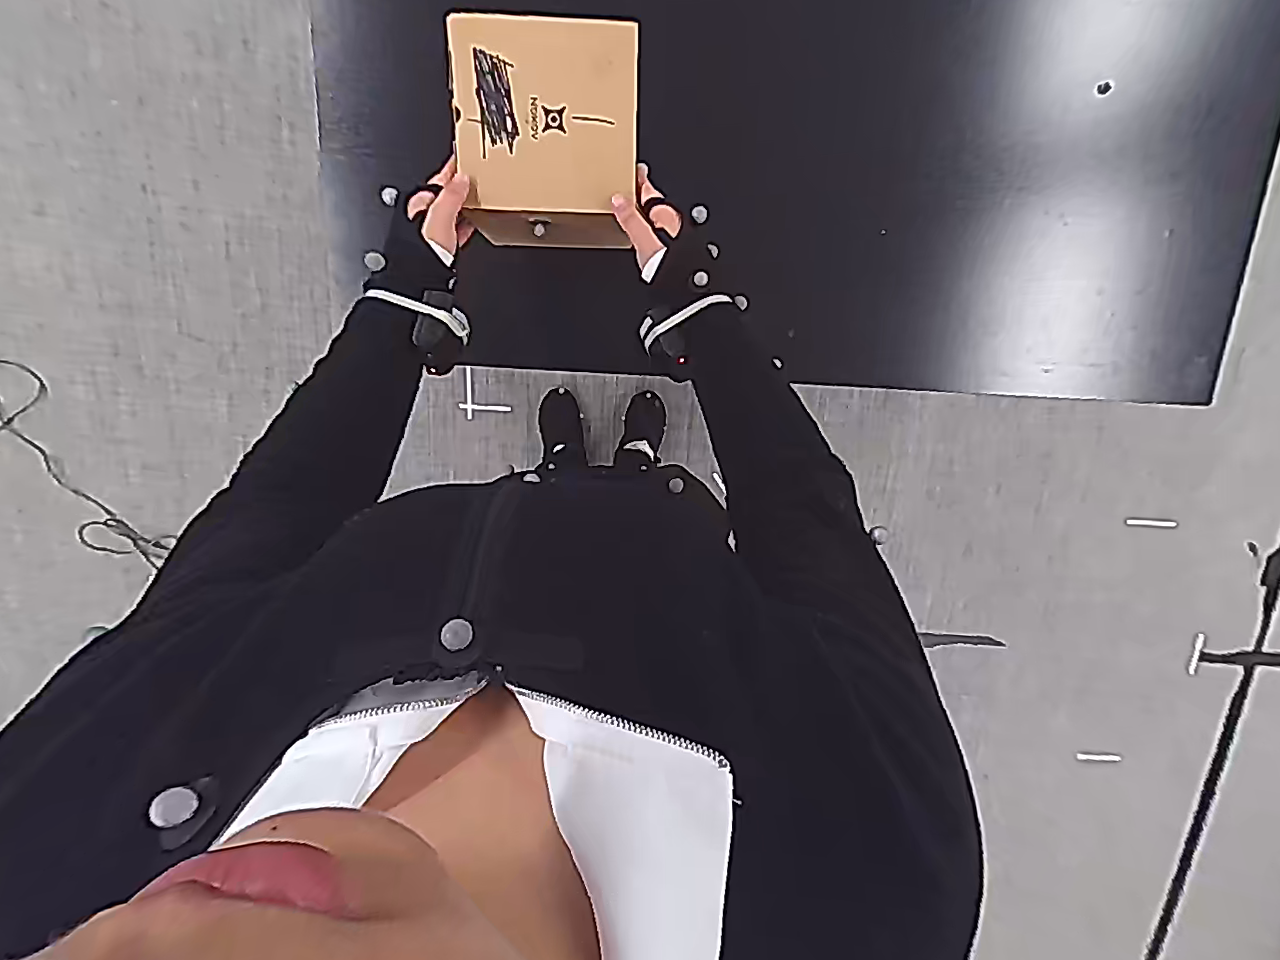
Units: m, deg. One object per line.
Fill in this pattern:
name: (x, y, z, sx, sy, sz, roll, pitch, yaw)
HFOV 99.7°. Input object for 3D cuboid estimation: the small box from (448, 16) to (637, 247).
small box: (-0.094, -0.360, 0.591, 0.179, 0.176, 0.168, 0, 102, -3)
